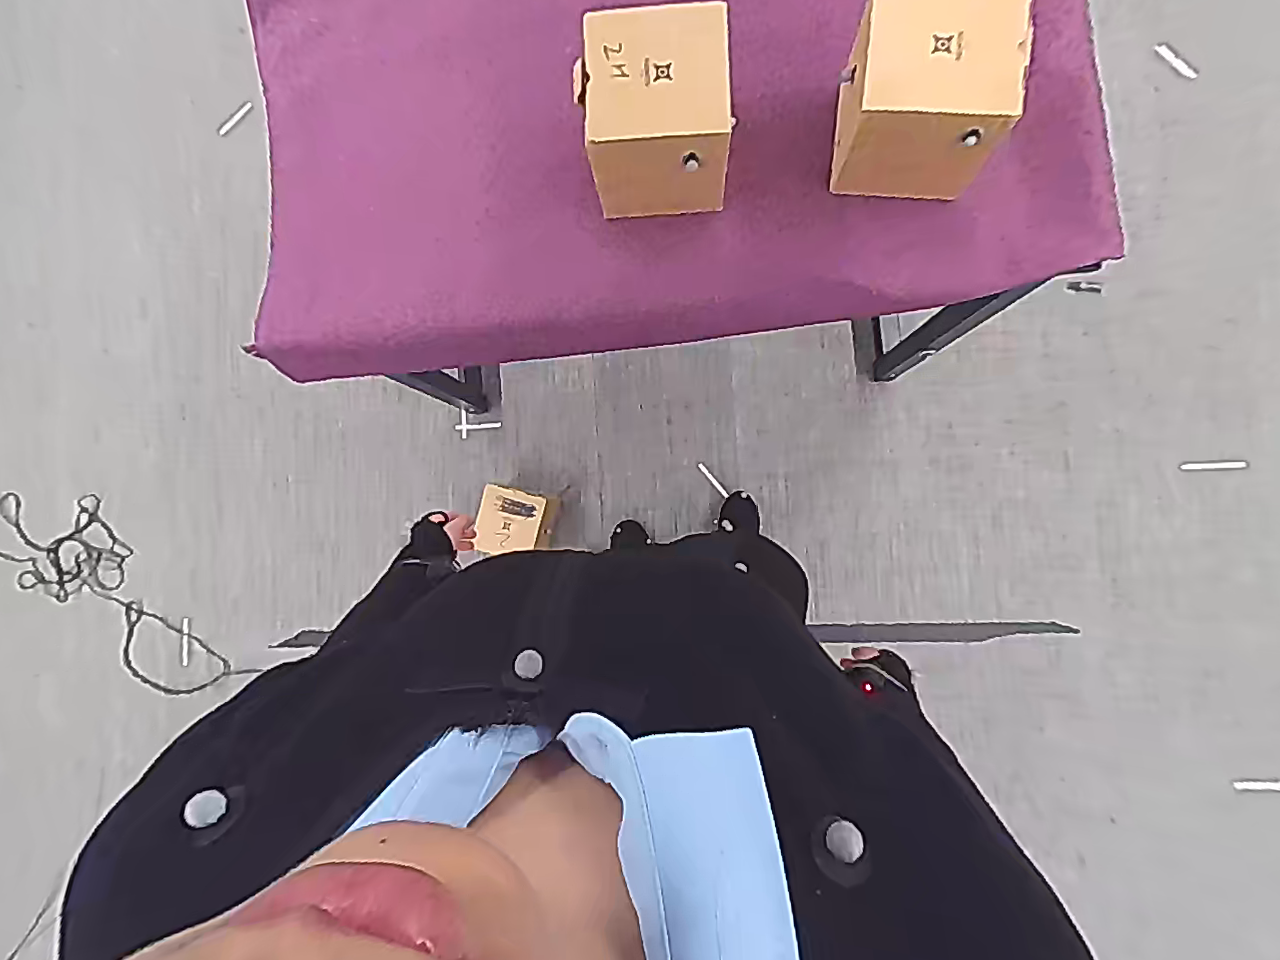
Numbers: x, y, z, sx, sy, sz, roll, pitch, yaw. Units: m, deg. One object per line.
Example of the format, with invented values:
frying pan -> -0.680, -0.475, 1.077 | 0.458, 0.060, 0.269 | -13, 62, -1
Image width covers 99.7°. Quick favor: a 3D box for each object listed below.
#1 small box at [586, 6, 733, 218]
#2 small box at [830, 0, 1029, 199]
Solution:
small box -> 0.027, -0.476, 0.725 | 0.179, 0.176, 0.168 | -1, 86, 5
small box -> 0.356, -0.488, 0.696 | 0.179, 0.176, 0.168 | 6, 87, 6
